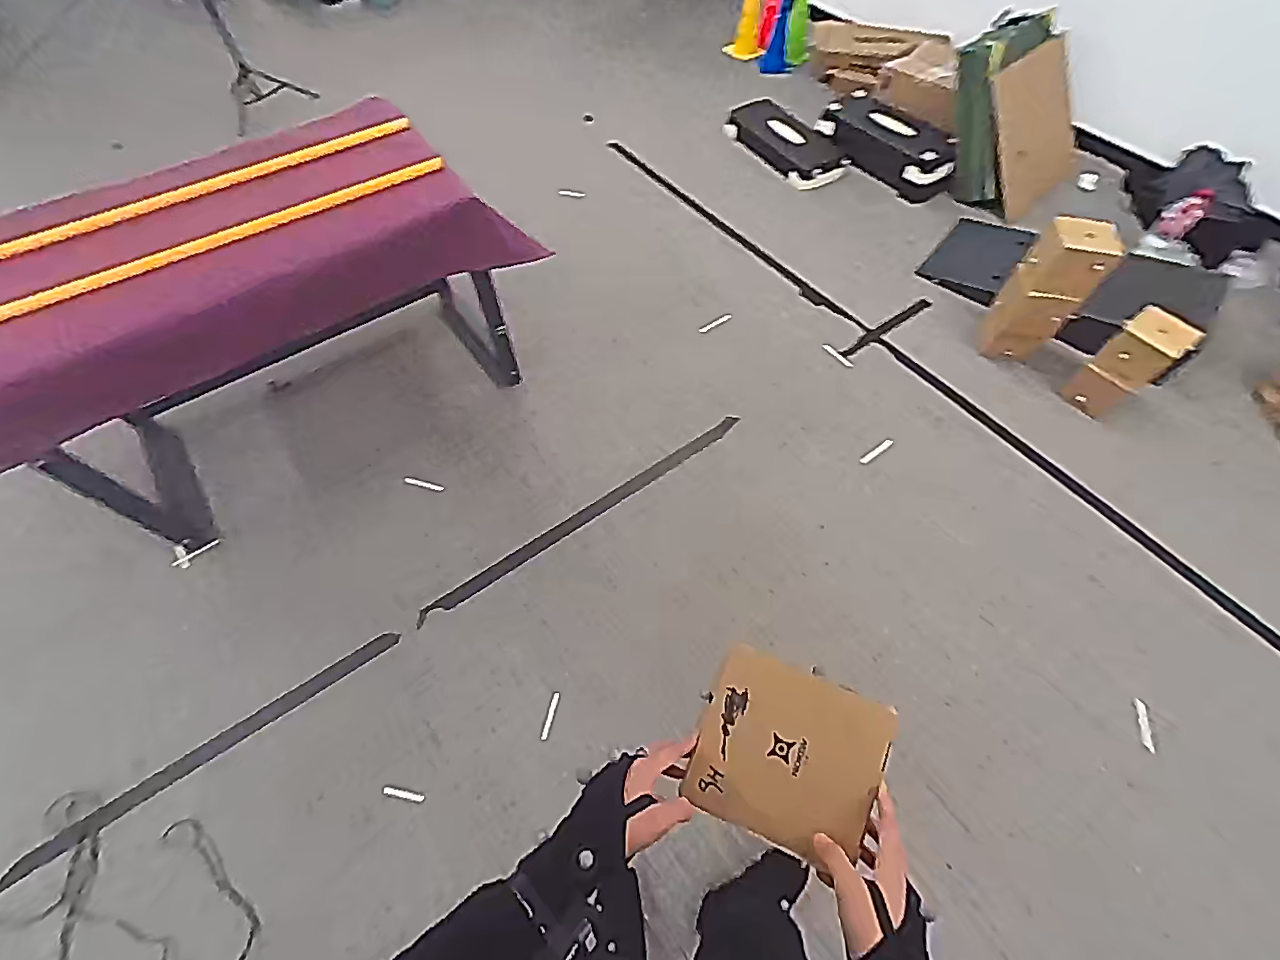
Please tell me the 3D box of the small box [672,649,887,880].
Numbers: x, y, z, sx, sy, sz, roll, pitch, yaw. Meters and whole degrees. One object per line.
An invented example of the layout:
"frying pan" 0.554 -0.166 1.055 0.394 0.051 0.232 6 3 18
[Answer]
"small box" 0.150 0.303 0.625 0.179 0.176 0.168 20 77 12
